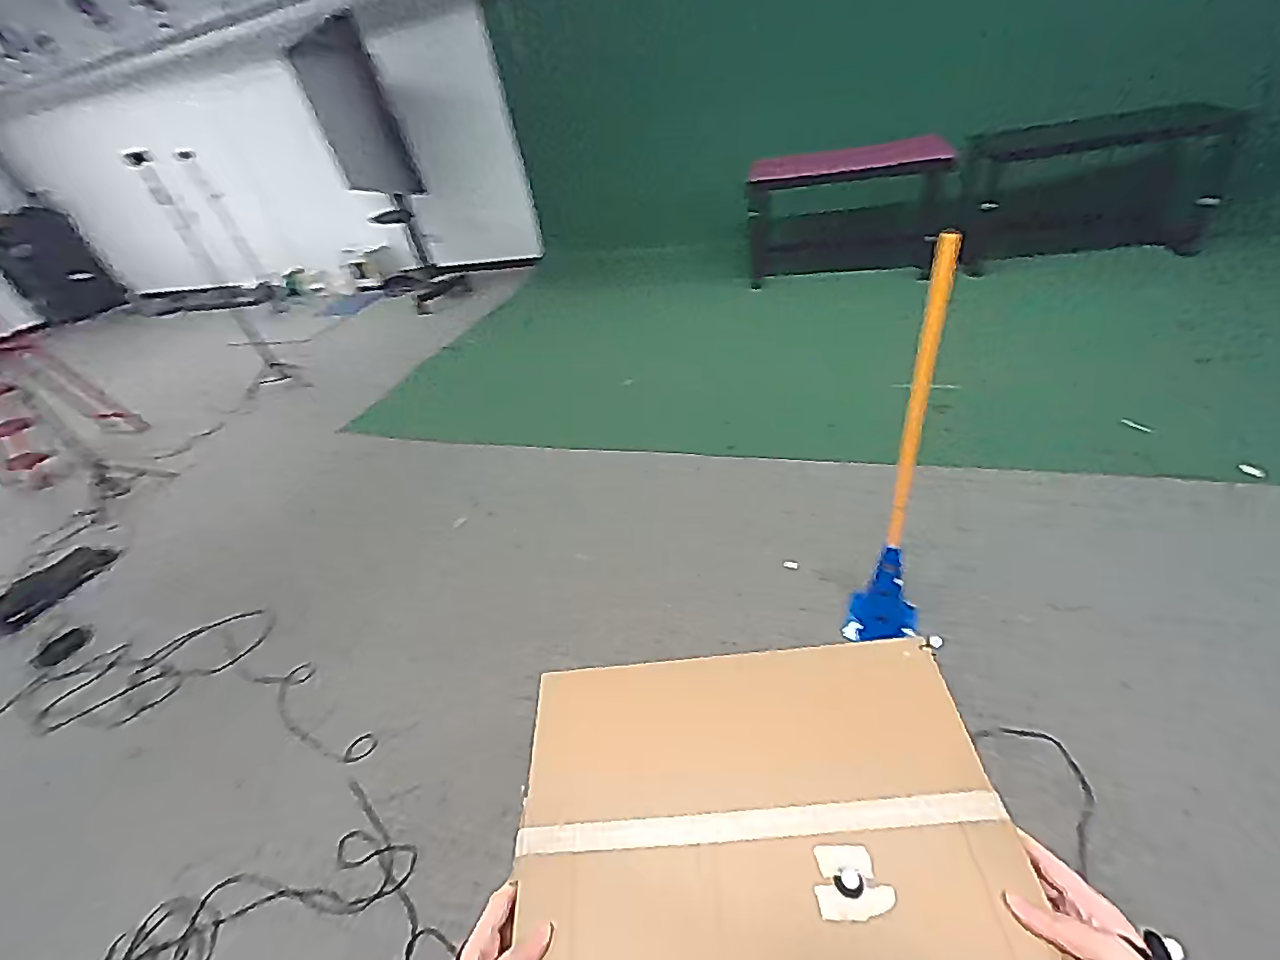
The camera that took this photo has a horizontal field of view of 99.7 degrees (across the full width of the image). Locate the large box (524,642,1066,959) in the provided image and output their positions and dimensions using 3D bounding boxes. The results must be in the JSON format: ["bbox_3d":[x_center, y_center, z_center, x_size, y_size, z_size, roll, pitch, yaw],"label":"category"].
[{"bbox_3d":[0.121,0.403,0.567,0.408,0.320,0.320,-6,43,5],"label":"large box"}]

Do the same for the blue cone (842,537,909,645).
[{"bbox_3d":[0.735,0.326,1.649,0.193,0.380,0.192,10,42,26],"label":"blue cone"}]
